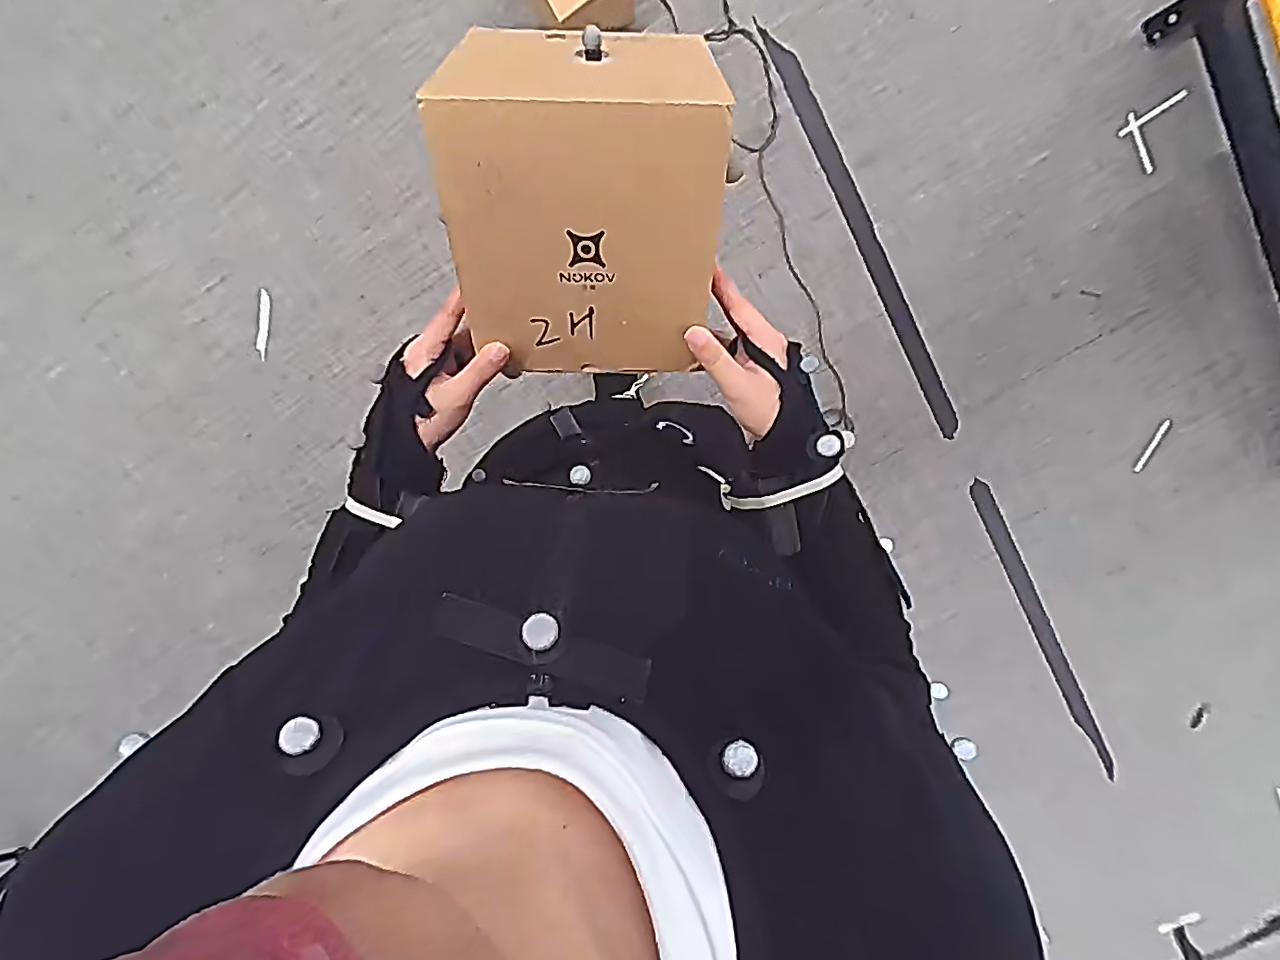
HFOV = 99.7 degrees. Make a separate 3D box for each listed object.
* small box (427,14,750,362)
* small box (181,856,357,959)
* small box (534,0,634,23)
[{"bbox_3d":[-0.032,-0.204,0.383,0.168,0.176,0.179,1,138,-3],"label":"small box"},{"bbox_3d":[-0.562,0.718,0.810,0.179,0.176,0.168,-30,103,7],"label":"small box"},{"bbox_3d":[-0.122,-0.972,1.042,0.168,0.176,0.179,-31,103,7],"label":"small box"}]
